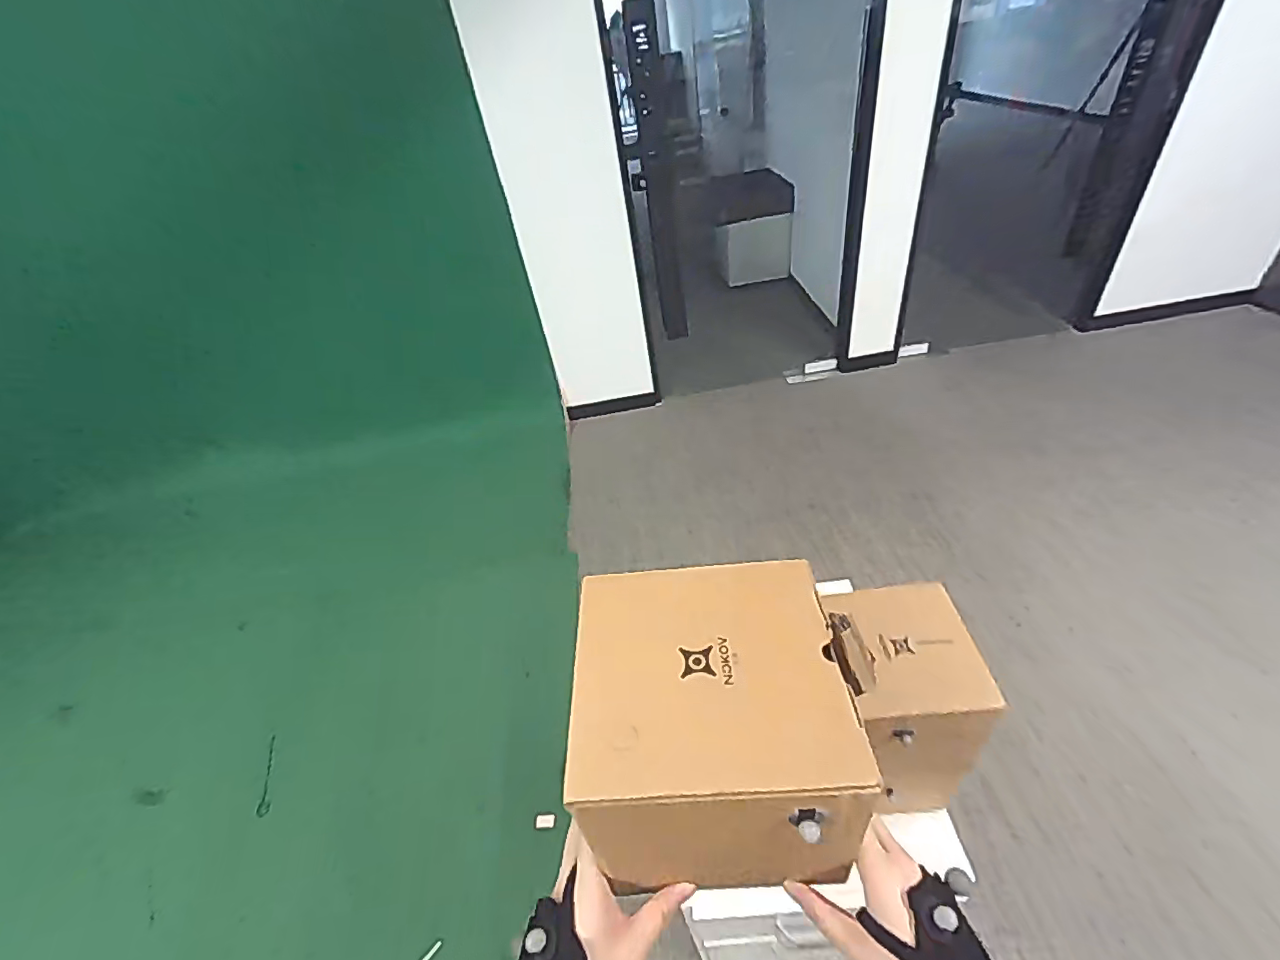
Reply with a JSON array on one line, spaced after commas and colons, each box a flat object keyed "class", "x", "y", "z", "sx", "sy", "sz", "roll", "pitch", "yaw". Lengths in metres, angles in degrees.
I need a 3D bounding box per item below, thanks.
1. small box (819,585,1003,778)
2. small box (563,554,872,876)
[{"class": "small box", "x": 0.305, "y": 0.255, "z": 0.677, "sx": 0.179, "sy": 0.176, "sz": 0.168, "roll": -7, "pitch": 40, "yaw": 6}, {"class": "small box", "x": 0.051, "y": 0.177, "z": 0.409, "sx": 0.179, "sy": 0.176, "sz": 0.168, "roll": -4, "pitch": 38, "yaw": 3}]
